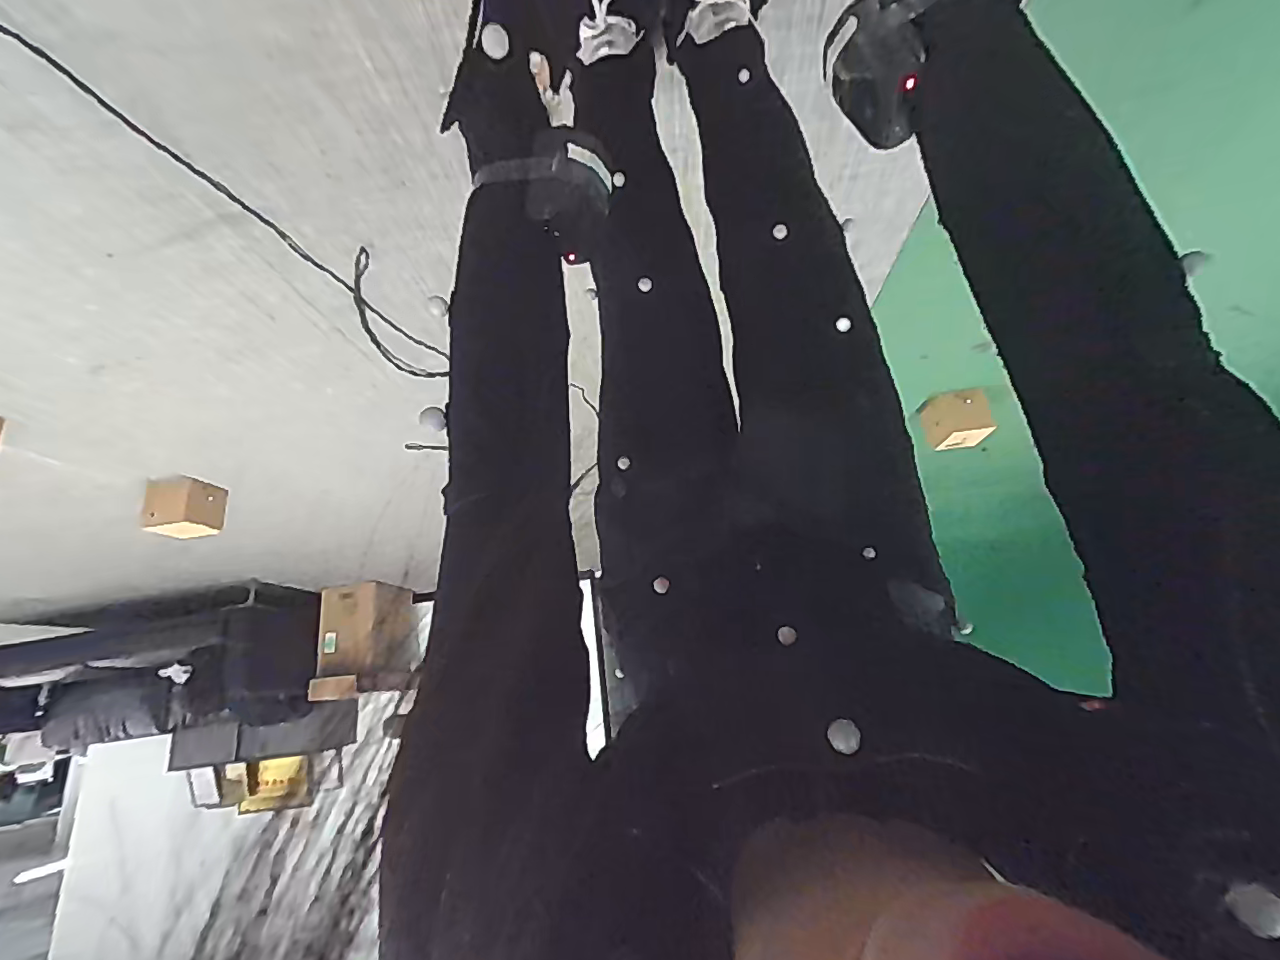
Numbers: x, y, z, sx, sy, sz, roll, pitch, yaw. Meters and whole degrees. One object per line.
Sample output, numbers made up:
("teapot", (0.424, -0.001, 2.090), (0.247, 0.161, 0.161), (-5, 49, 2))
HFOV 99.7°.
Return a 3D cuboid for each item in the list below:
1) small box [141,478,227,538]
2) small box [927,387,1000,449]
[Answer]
("small box", (-1.660, 0.103, 1.980), (0.179, 0.176, 0.168), (-9, 162, 5))
("small box", (1.228, -0.237, 2.068), (0.168, 0.176, 0.179), (-8, 161, 2))
